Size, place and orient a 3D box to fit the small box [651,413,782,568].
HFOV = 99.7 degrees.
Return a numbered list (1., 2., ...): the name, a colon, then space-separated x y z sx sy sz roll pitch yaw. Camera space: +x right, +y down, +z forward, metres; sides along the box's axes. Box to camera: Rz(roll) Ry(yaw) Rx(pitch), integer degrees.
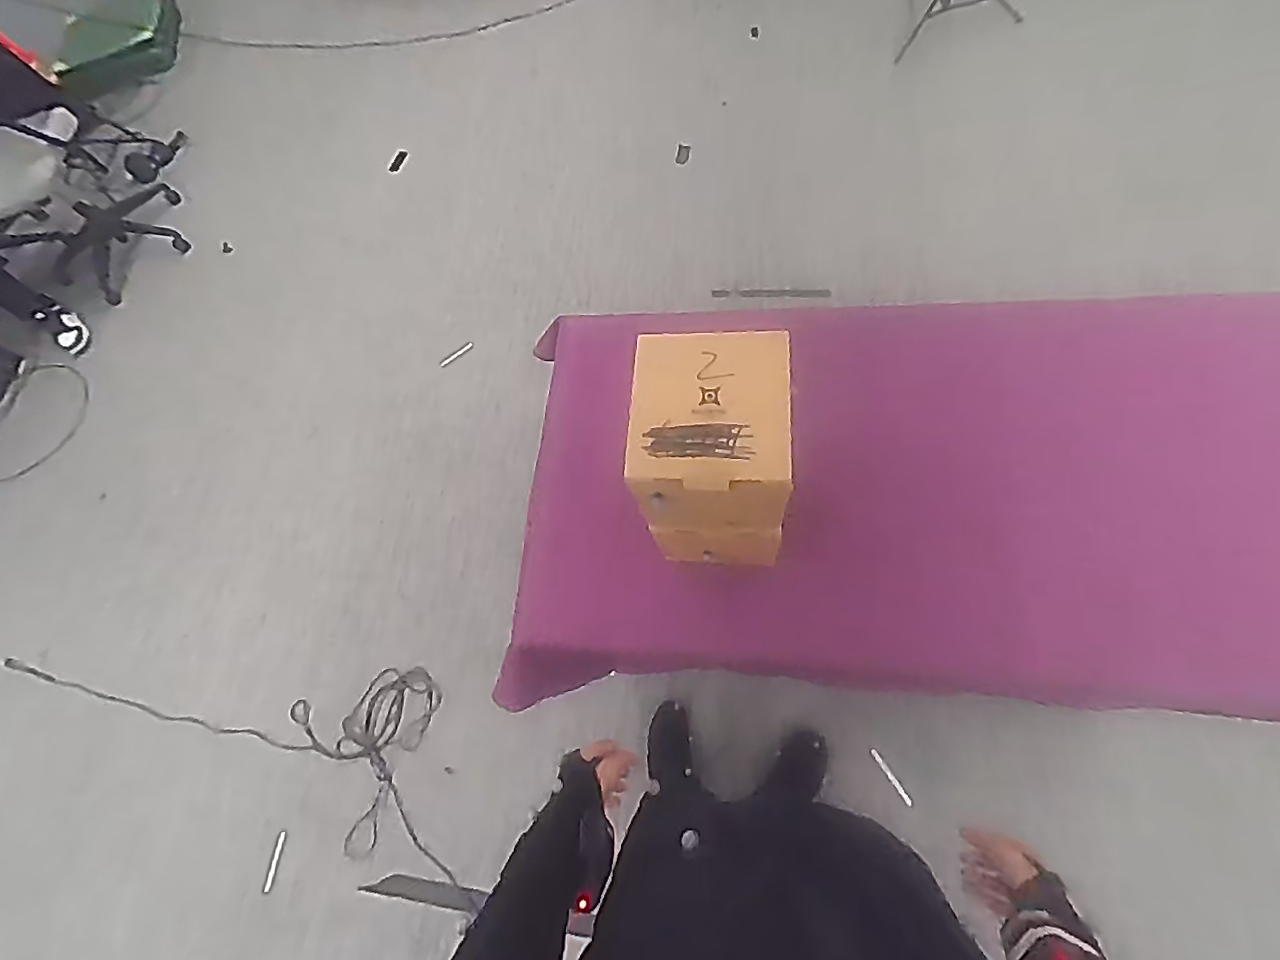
1. small box: 0.113 0.019 0.779 0.168 0.176 0.179 1 70 10
